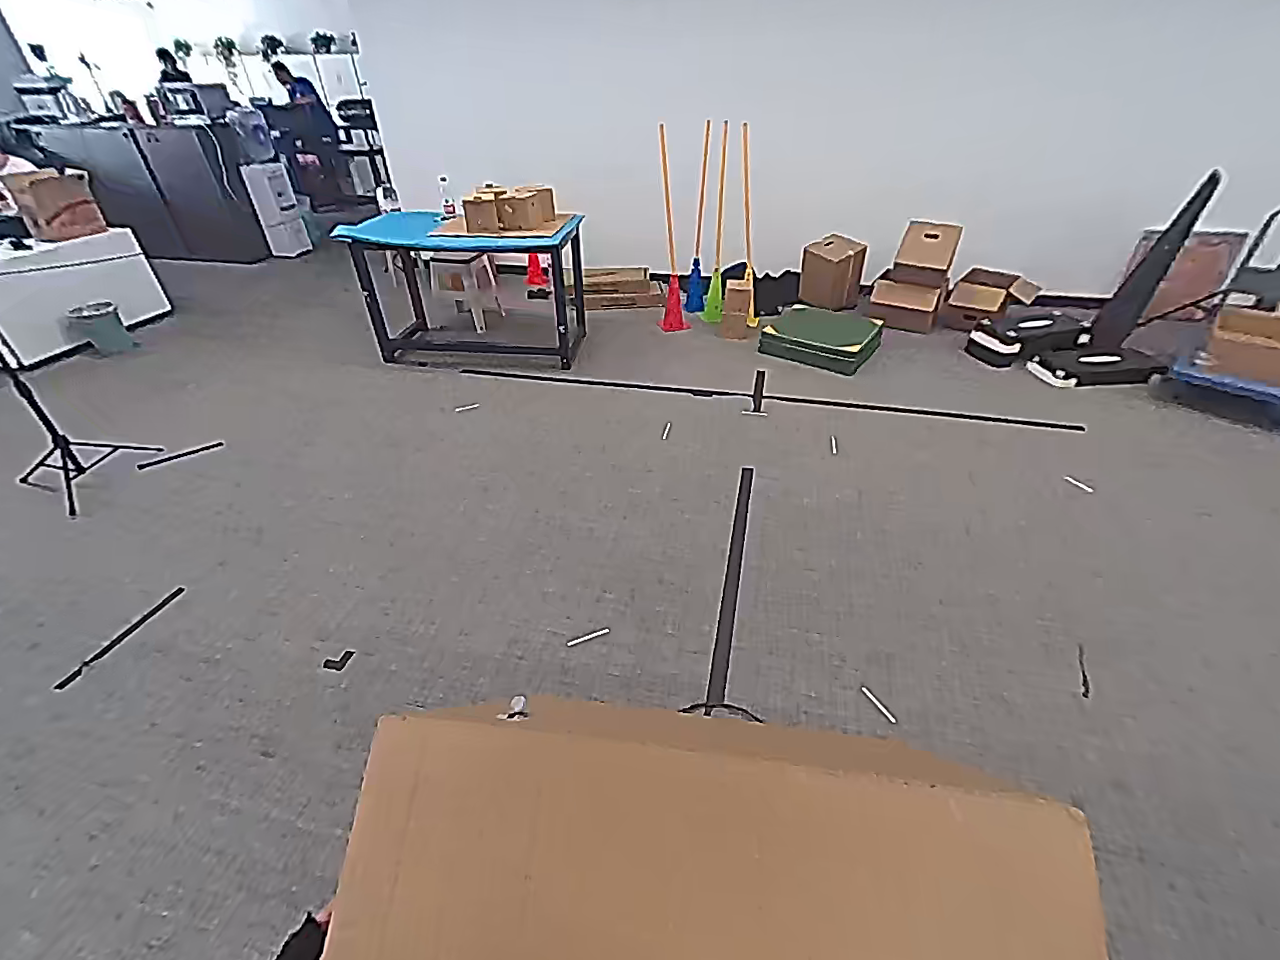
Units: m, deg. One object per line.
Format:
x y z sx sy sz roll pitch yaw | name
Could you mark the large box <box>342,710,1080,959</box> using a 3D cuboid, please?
0.037 0.364 0.414 0.408 0.320 0.320 3 71 10 | large box
